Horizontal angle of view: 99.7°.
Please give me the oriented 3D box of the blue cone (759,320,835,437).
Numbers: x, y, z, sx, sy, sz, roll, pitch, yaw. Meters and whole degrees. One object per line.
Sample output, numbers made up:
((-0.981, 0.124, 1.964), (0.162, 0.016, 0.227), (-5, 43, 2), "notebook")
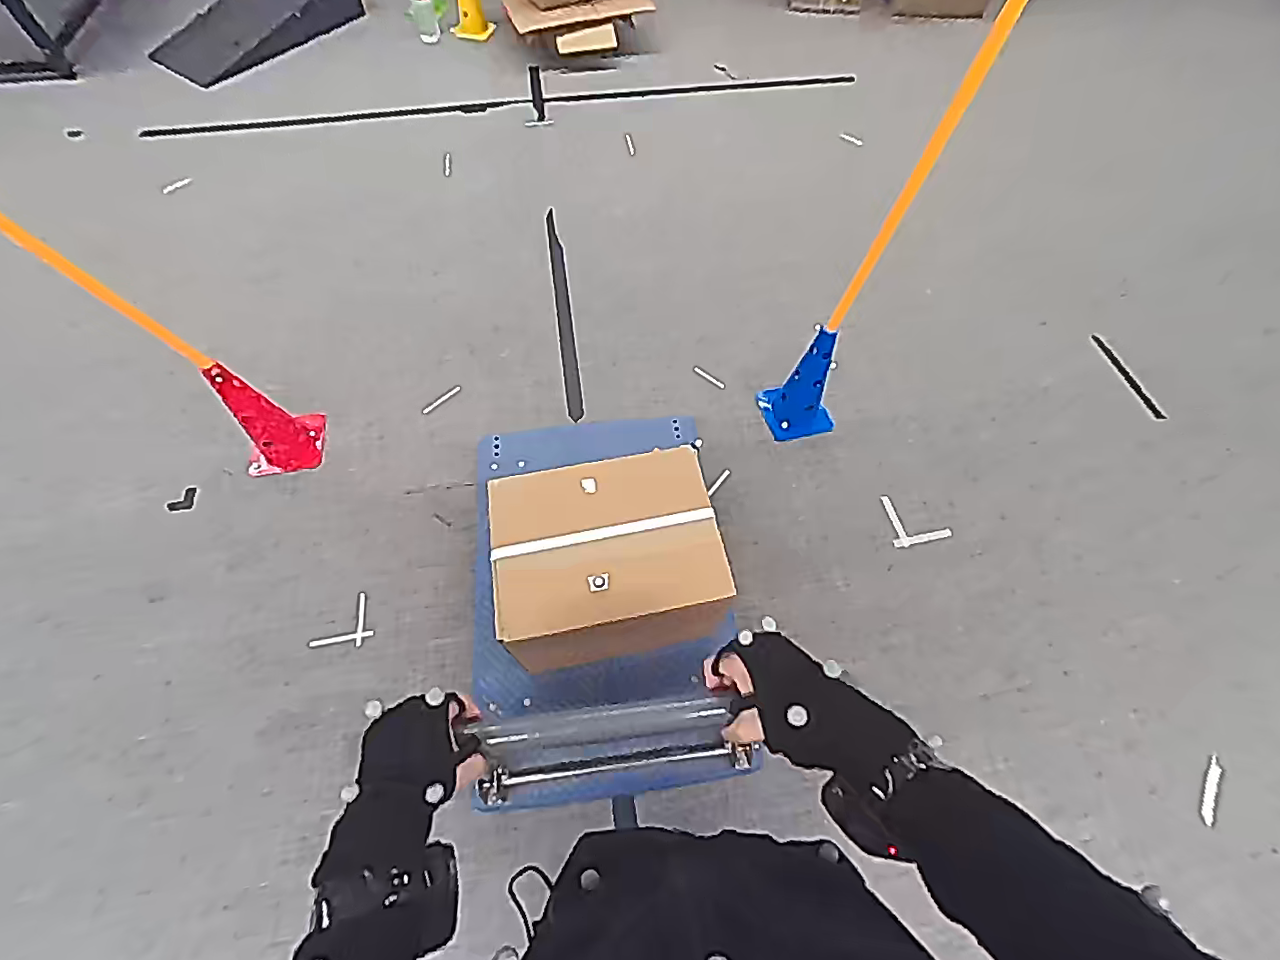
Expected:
((0.493, -0.303, 1.567), (0.193, 0.380, 0.192), (-11, 61, -8), "blue cone")
